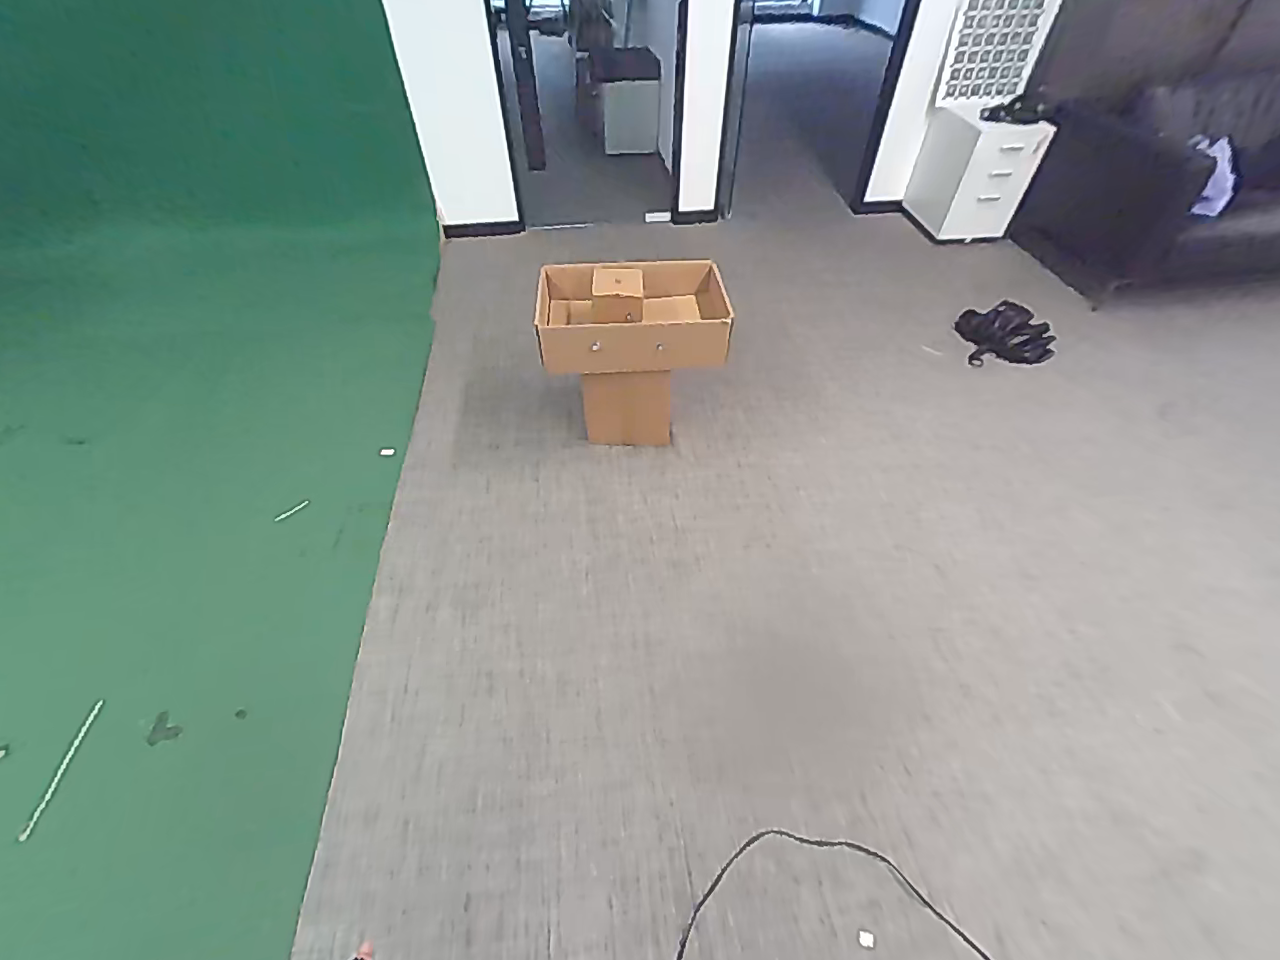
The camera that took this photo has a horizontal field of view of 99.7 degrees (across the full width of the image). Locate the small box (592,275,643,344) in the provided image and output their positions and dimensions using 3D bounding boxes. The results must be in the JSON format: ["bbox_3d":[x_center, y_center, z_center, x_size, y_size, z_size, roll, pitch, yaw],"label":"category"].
[{"bbox_3d":[-0.074,-0.578,1.835,0.168,0.176,0.179,0,45,-3],"label":"small box"}]
